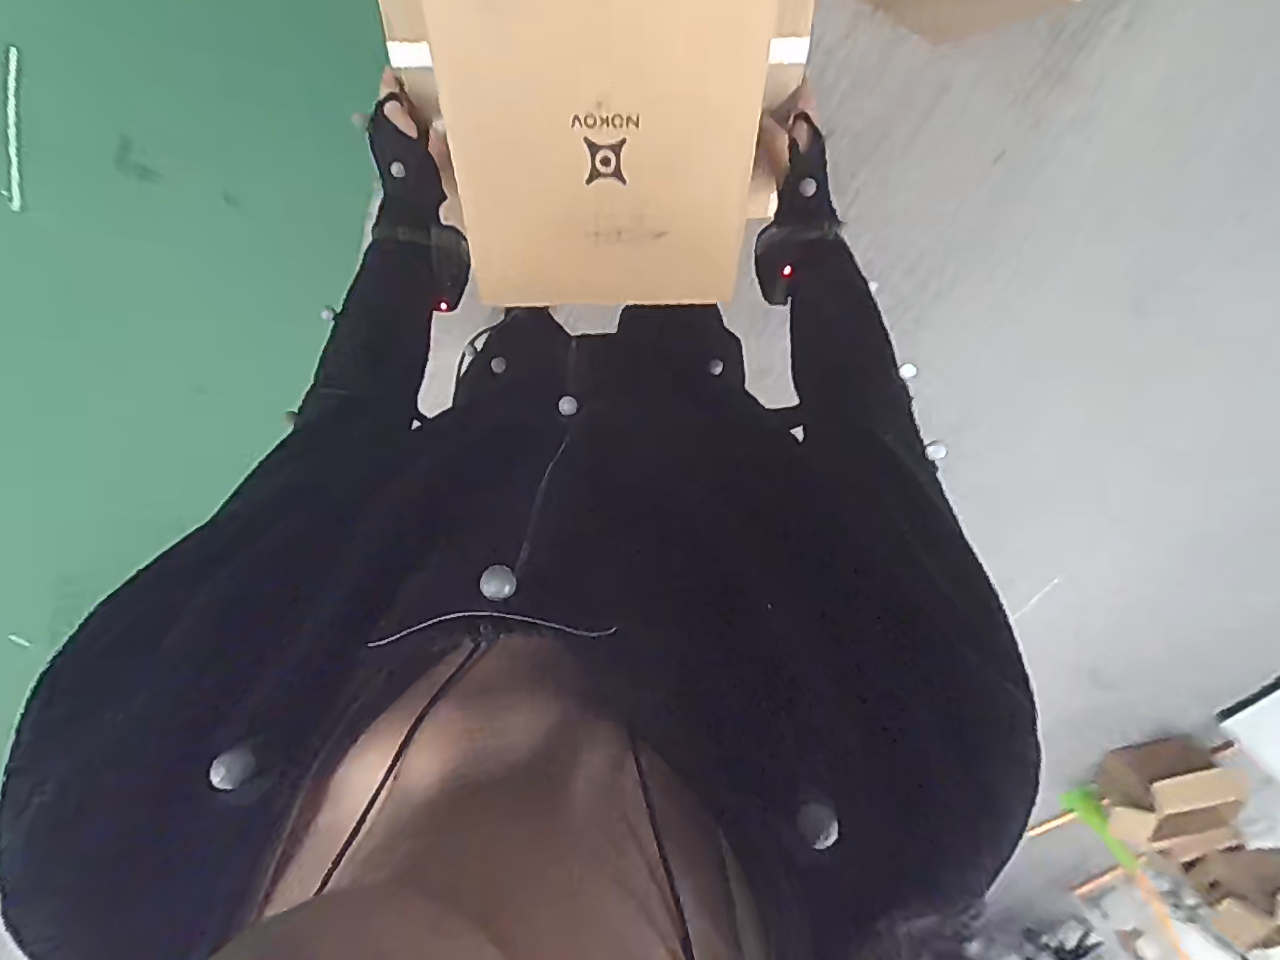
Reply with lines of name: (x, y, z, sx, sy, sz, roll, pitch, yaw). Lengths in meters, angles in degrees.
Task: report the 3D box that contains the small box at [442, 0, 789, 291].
small box: (-0.018, -0.240, 0.344, 0.168, 0.176, 0.179, -2, 134, -3)
